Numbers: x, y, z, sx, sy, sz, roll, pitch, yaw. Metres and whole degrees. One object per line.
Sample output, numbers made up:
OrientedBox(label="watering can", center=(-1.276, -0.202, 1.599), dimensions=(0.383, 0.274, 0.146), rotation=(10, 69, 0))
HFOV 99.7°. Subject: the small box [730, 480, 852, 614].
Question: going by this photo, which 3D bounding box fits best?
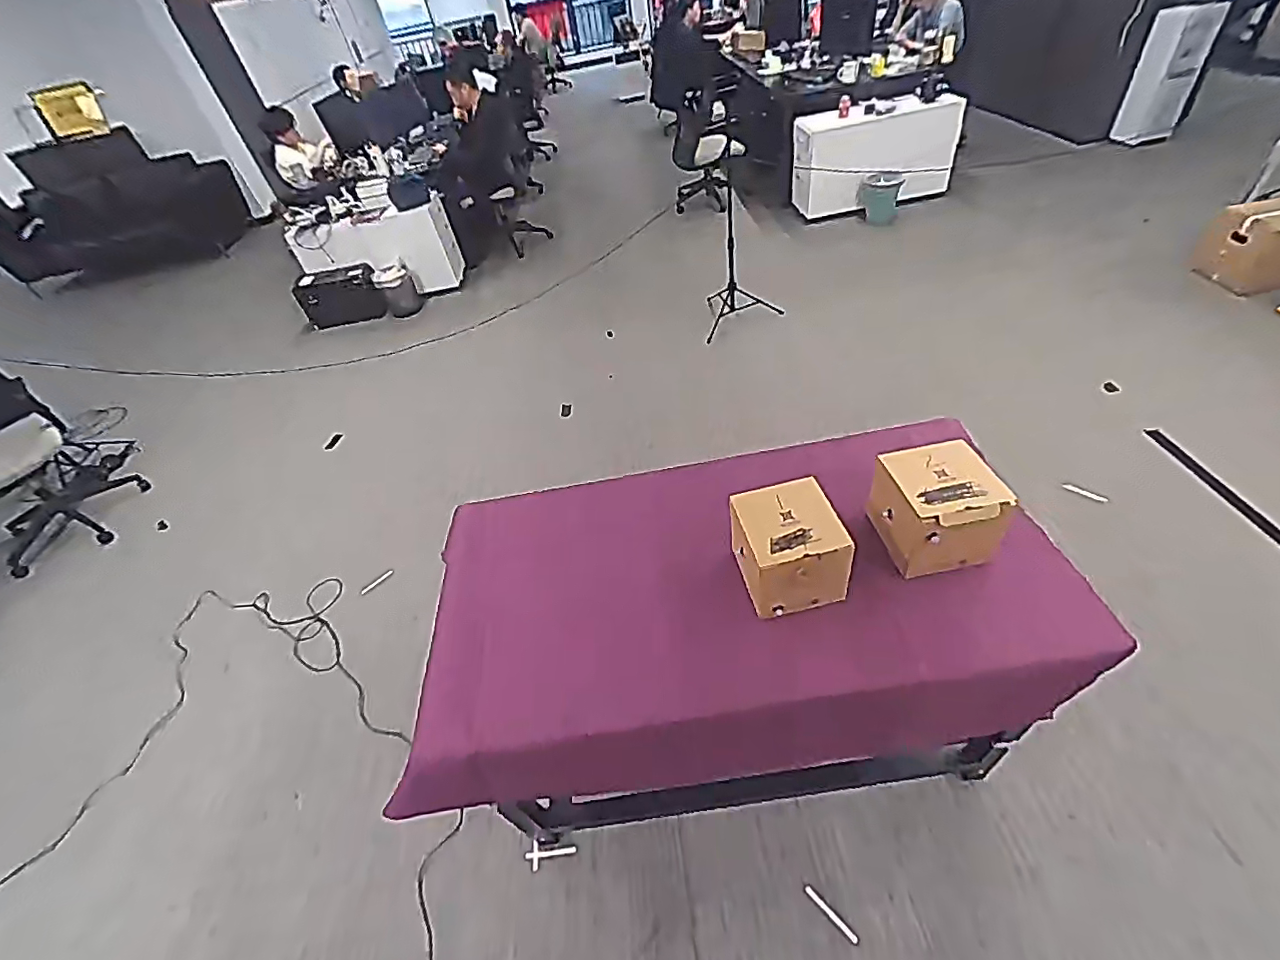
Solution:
OrientedBox(label="small box", center=(0.275, 0.131, 1.011), dimensions=(0.168, 0.176, 0.179), rotation=(-13, 43, -1))
